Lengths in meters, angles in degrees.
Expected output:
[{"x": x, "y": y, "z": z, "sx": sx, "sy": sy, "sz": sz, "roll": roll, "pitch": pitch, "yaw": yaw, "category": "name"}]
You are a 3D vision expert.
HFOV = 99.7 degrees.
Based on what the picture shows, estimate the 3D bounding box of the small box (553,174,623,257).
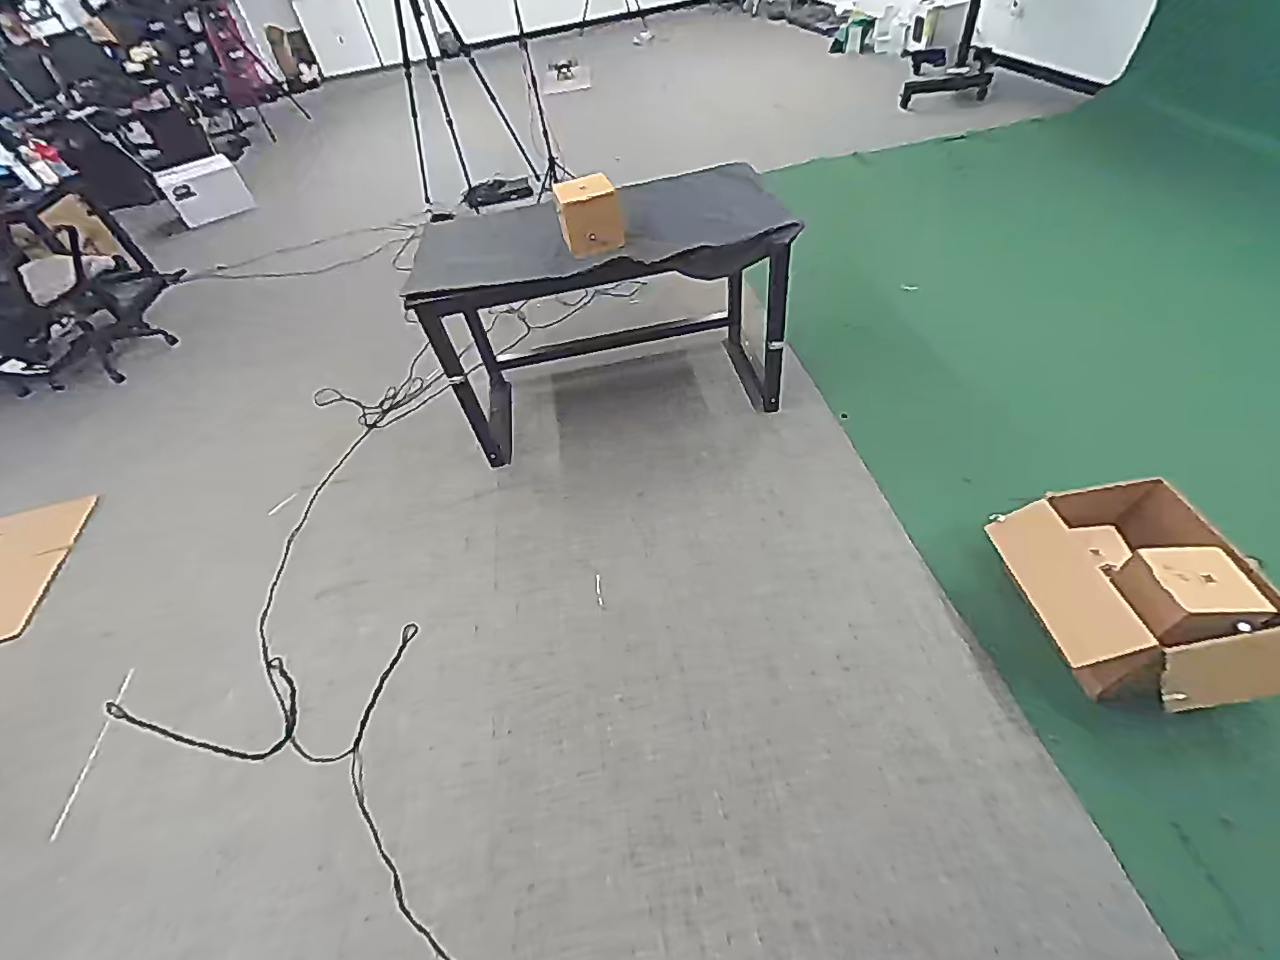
[{"x": -0.161, "y": -0.818, "z": 1.677, "sx": 0.168, "sy": 0.176, "sz": 0.179, "roll": -17, "pitch": 48, "yaw": -6, "category": "small box"}]
